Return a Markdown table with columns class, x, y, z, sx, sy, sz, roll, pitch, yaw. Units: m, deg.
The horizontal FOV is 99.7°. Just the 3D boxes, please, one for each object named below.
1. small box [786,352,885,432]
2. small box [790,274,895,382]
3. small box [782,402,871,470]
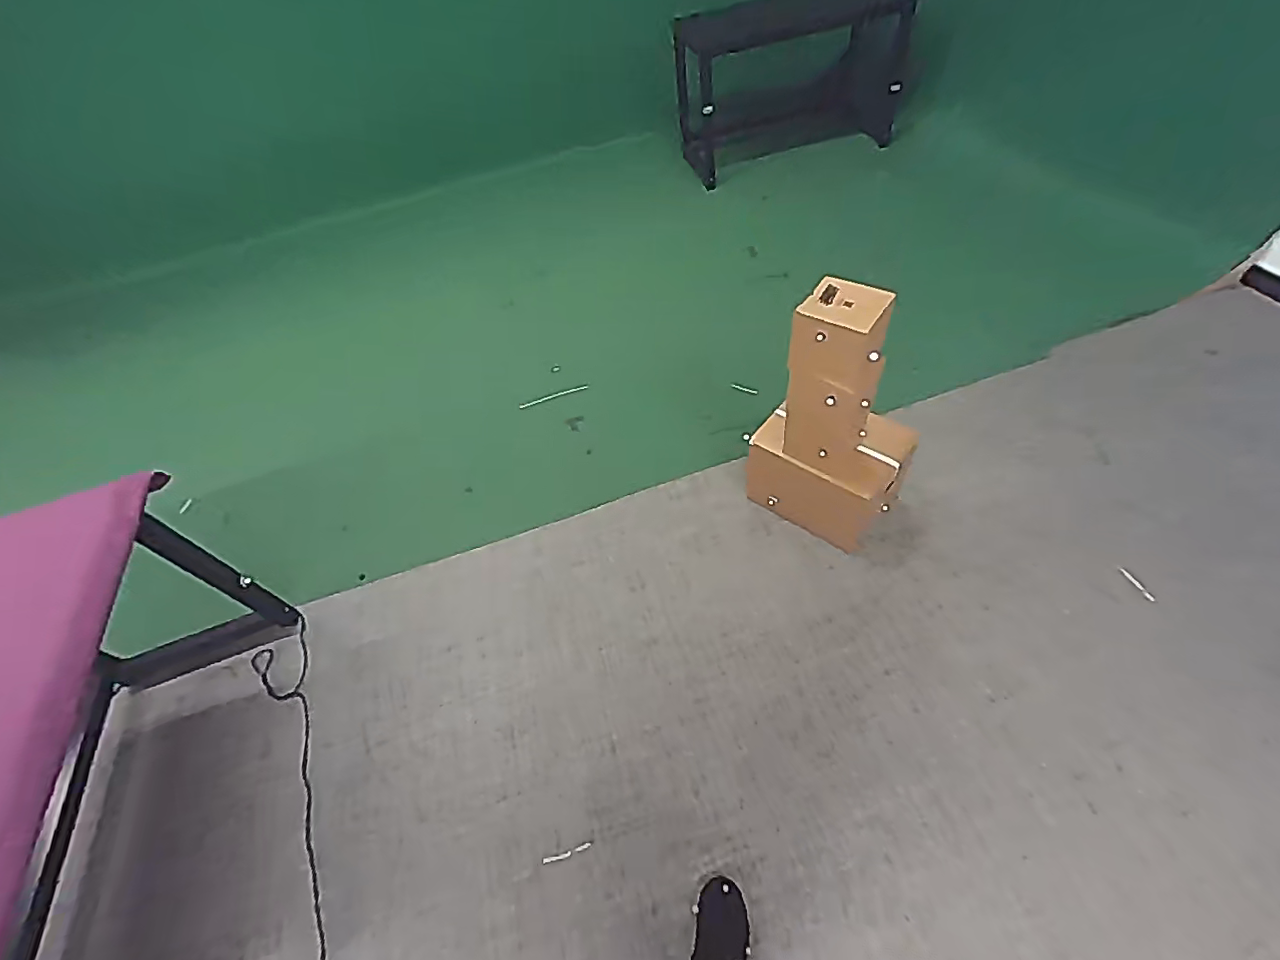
| class | x | y | z | sx | sy | sz | roll | pitch | yaw |
| --- | --- | --- | --- | --- | --- | --- | --- | --- | --- |
| small box | 0.506 | -0.252 | 1.423 | 0.179 | 0.176 | 0.168 | 34 | 64 | 29 |
| small box | 0.479 | -0.364 | 1.305 | 0.179 | 0.176 | 0.168 | 29 | 62 | 26 |
| small box | 0.529 | -0.154 | 1.553 | 0.179 | 0.176 | 0.168 | 32 | 64 | 29 |
